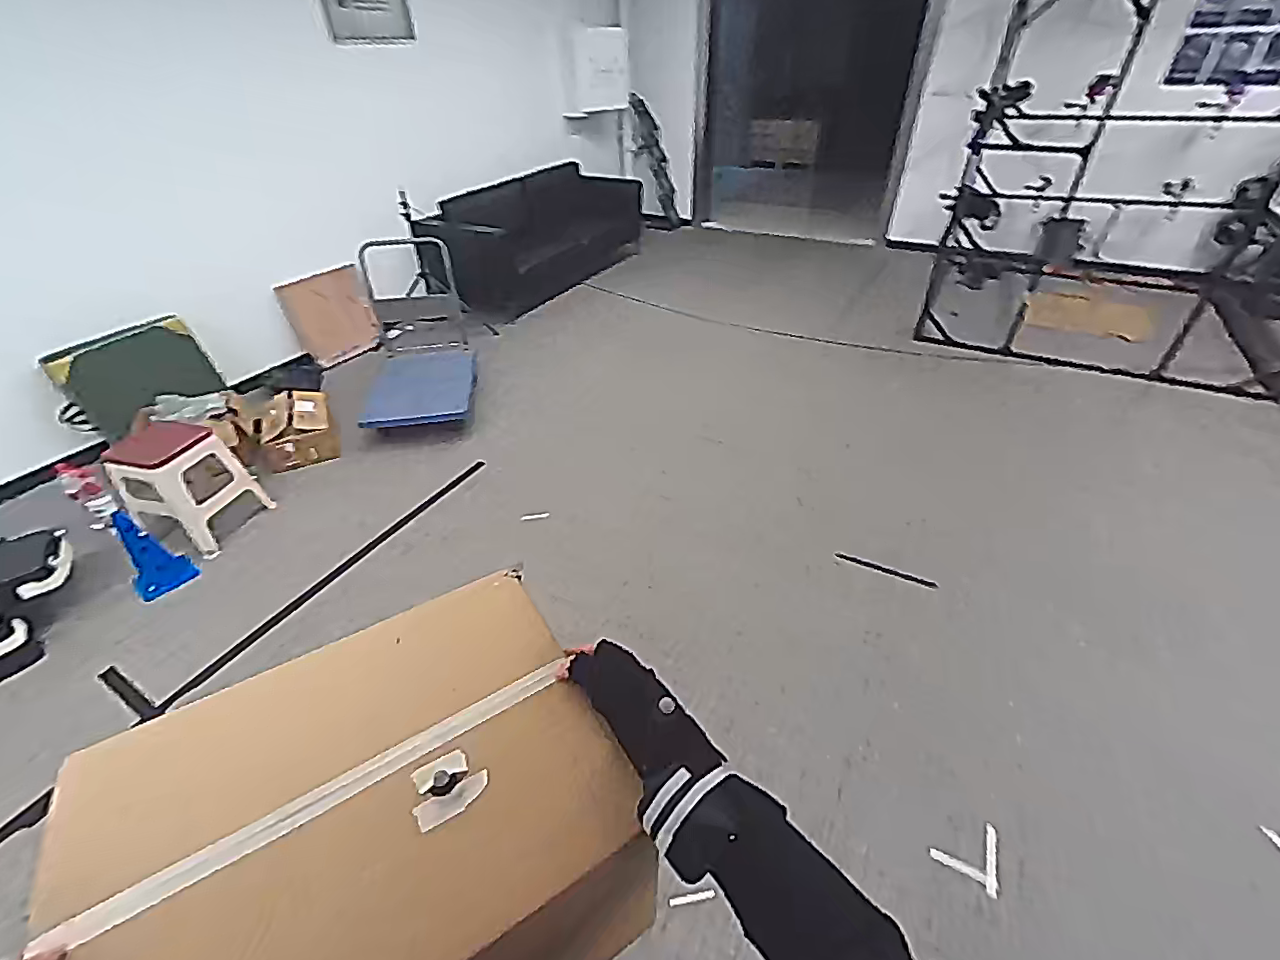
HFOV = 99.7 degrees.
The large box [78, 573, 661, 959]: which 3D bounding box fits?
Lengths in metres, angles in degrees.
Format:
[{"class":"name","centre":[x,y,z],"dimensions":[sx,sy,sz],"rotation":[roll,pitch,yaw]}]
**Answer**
[{"class":"large box","centre":[-0.226,0.372,0.555],"dimensions":[0.408,0.320,0.320],"rotation":[-21,44,-24]}]
